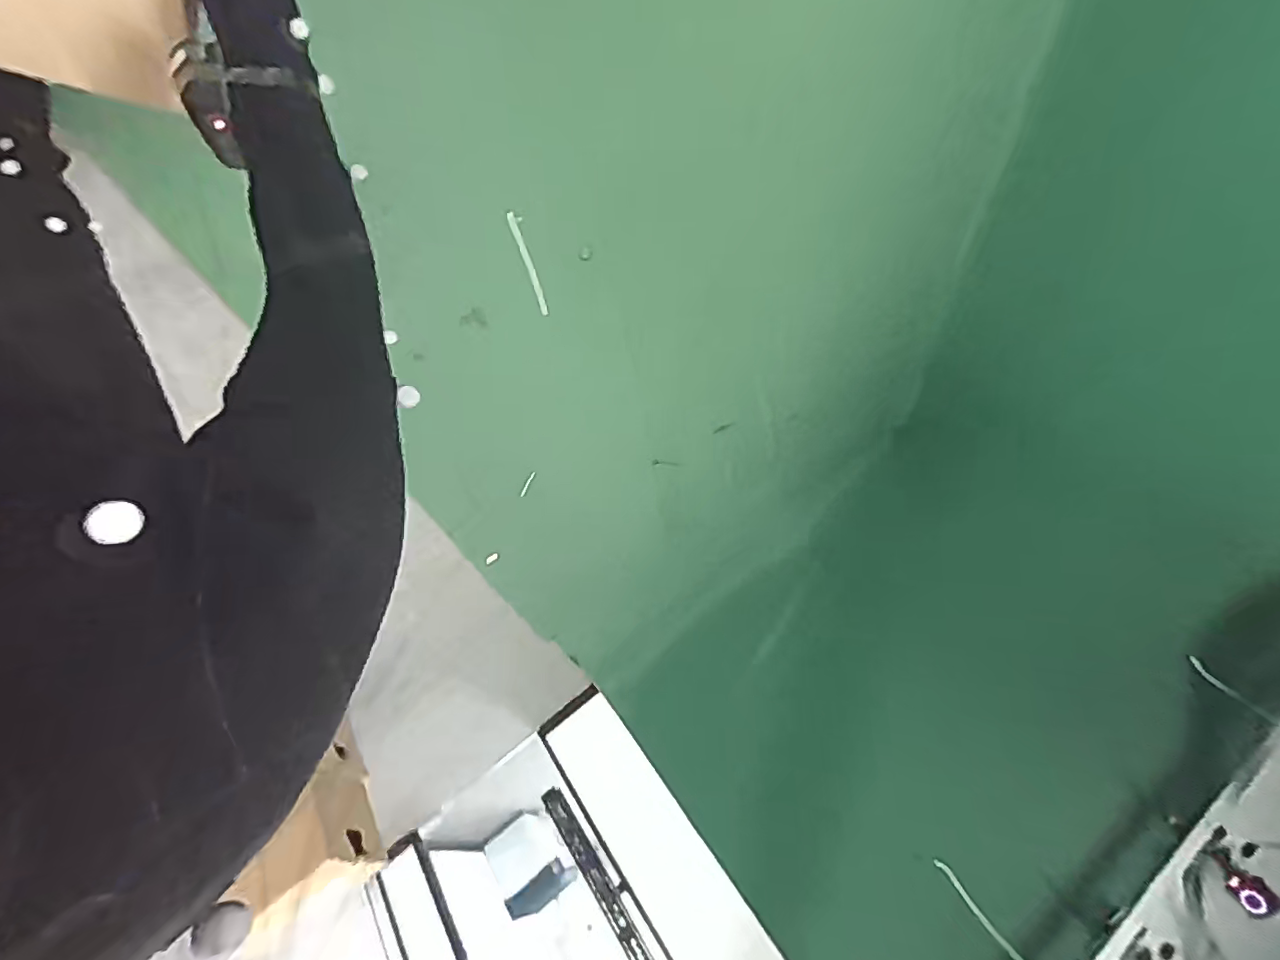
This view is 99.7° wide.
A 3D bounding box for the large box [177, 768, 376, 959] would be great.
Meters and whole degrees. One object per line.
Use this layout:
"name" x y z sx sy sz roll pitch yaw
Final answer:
"large box" -1.156 1.218 1.737 0.408 0.320 0.320 -37 145 -14
